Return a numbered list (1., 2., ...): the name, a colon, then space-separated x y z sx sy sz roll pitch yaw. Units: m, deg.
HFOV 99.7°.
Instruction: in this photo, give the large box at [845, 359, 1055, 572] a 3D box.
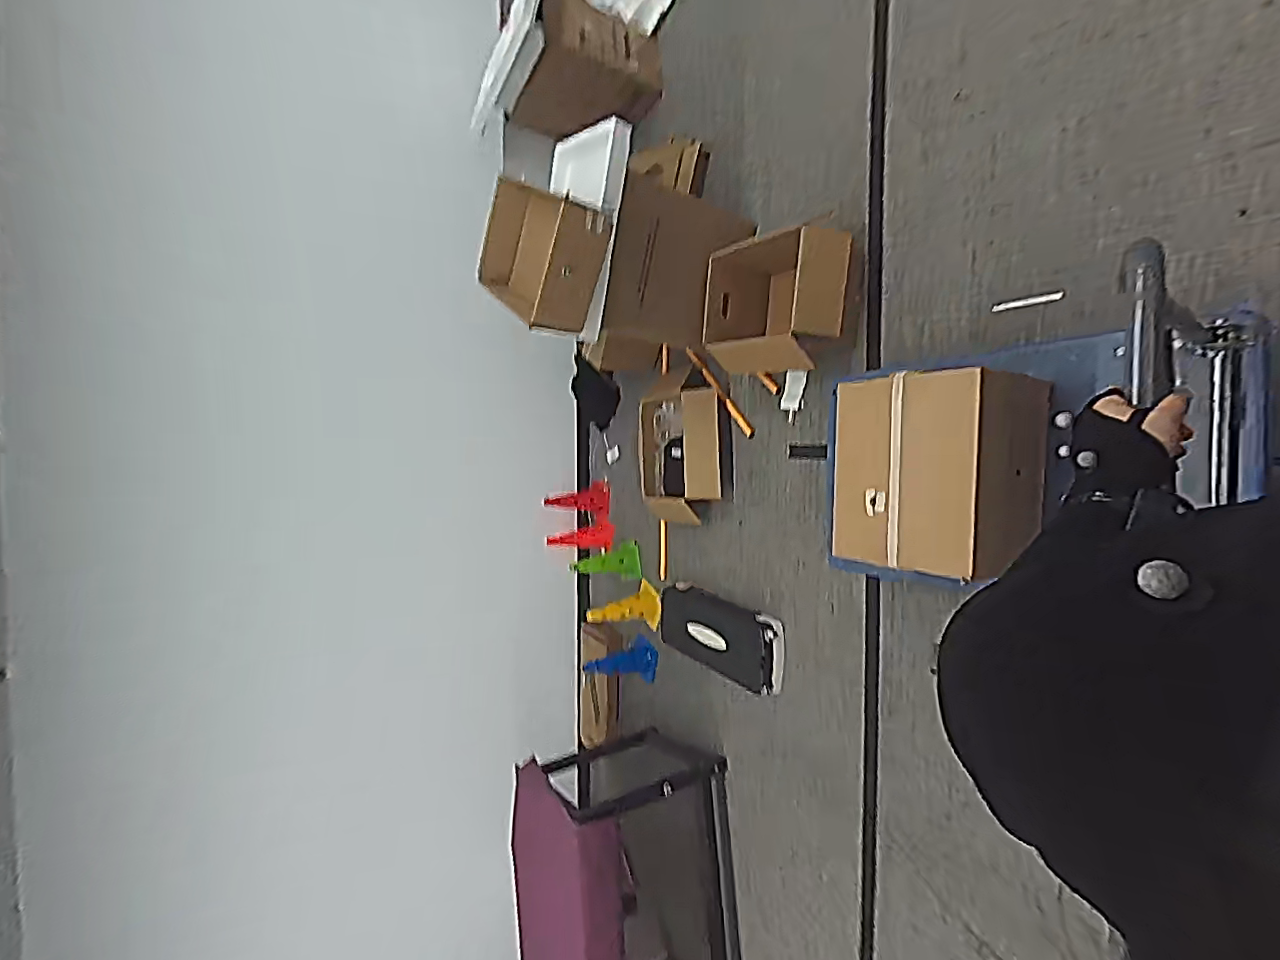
1. large box: 0.685 -0.036 1.208 0.320 0.320 0.408 4 96 58
